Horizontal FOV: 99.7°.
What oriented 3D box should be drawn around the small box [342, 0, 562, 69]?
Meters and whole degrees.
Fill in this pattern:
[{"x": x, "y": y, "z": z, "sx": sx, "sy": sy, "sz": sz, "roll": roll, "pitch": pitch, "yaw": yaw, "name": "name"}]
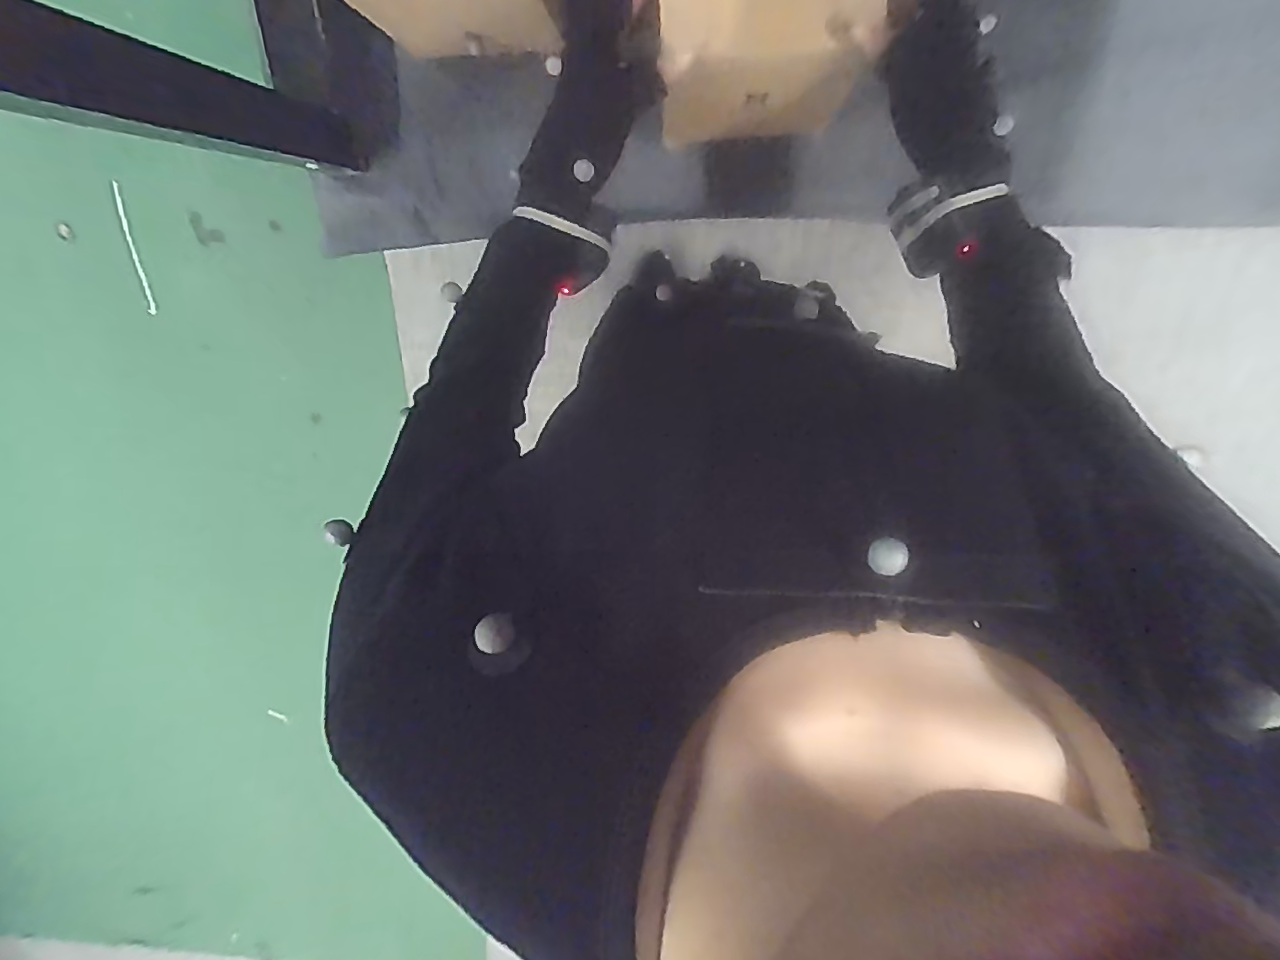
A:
[{"x": -0.167, "y": -0.491, "z": 0.468, "sx": 0.168, "sy": 0.176, "sz": 0.179, "roll": 0, "pitch": 112, "yaw": 4, "name": "small box"}]
